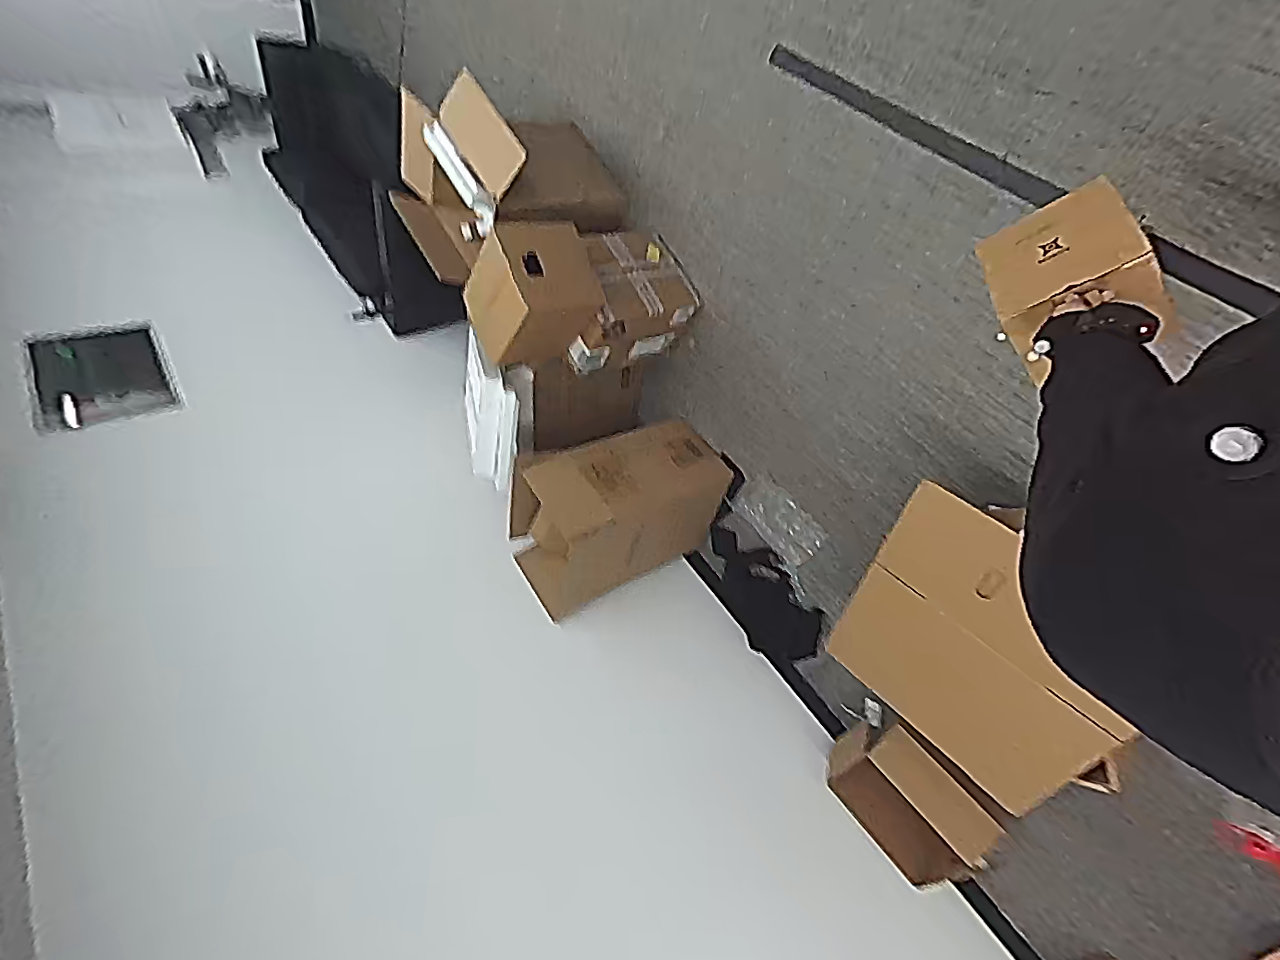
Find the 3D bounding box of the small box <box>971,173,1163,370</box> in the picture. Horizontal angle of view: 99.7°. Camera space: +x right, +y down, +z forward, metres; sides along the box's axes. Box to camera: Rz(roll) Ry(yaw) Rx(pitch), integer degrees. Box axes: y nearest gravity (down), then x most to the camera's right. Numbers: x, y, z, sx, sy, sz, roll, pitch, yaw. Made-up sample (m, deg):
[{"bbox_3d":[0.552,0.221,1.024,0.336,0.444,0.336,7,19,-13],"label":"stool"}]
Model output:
[{"bbox_3d":[0.613,-0.284,0.782,0.168,0.176,0.179,-23,48,40],"label":"small box"}]
